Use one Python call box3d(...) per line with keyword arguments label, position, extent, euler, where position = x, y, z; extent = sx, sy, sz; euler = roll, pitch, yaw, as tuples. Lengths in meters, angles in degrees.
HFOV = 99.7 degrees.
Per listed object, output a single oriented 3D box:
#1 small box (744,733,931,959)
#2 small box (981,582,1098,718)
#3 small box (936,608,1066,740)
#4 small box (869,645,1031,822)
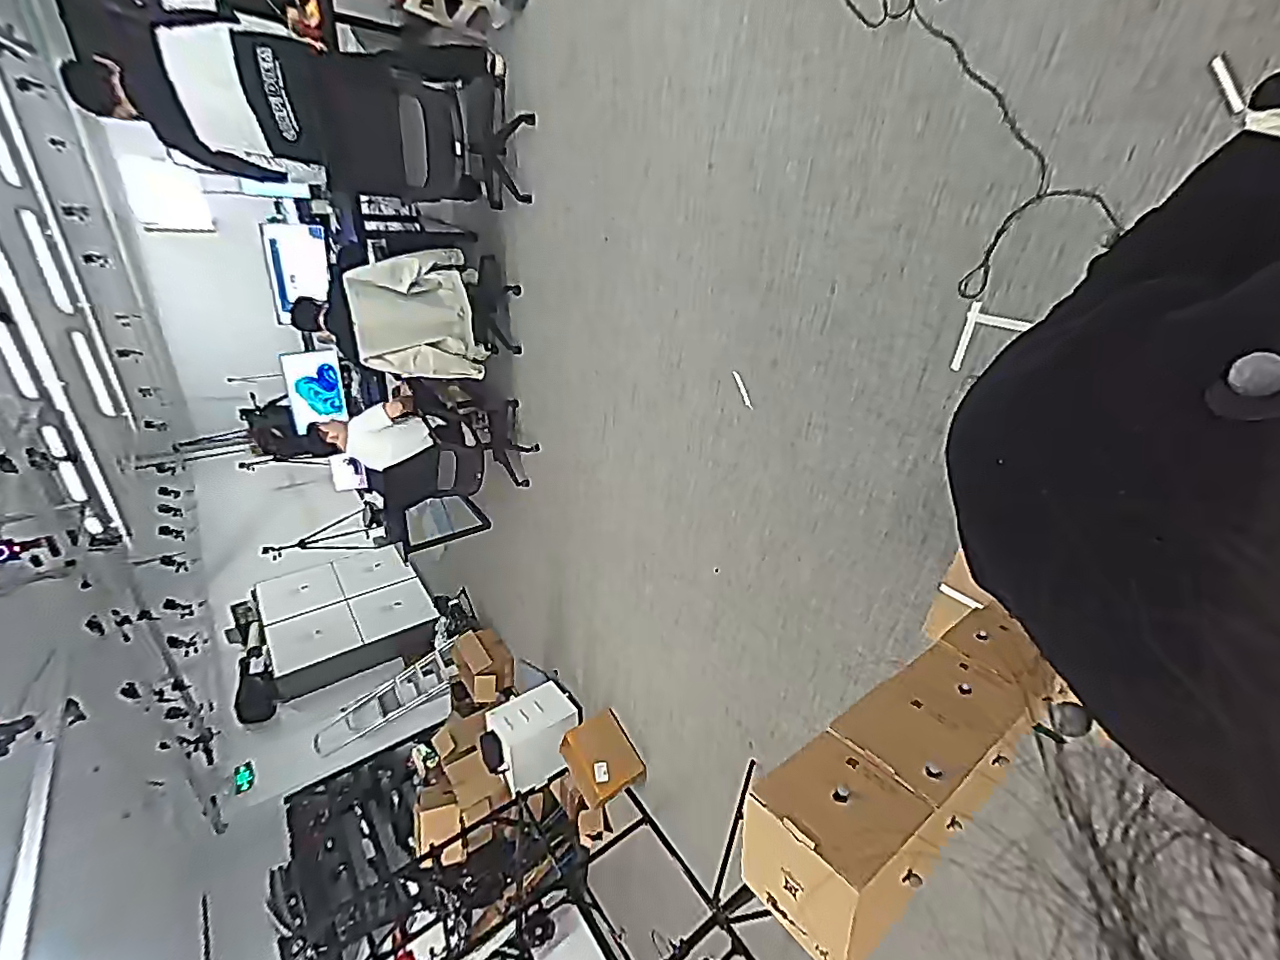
box3d(label="small box", position=(0.262, 0.484, 0.726), extent=(0.168, 0.176, 0.179), euler=(24, 121, 49))
box3d(label="small box", position=(0.781, 0.339, 1.097), extent=(0.168, 0.176, 0.179), euler=(33, 128, 43))
box3d(label="small box", position=(0.651, 0.370, 1.006), extent=(0.168, 0.176, 0.179), euler=(33, 130, 45))
box3d(label="small box", position=(0.522, 0.412, 0.912), extent=(0.168, 0.176, 0.179), euler=(29, 125, 48))
